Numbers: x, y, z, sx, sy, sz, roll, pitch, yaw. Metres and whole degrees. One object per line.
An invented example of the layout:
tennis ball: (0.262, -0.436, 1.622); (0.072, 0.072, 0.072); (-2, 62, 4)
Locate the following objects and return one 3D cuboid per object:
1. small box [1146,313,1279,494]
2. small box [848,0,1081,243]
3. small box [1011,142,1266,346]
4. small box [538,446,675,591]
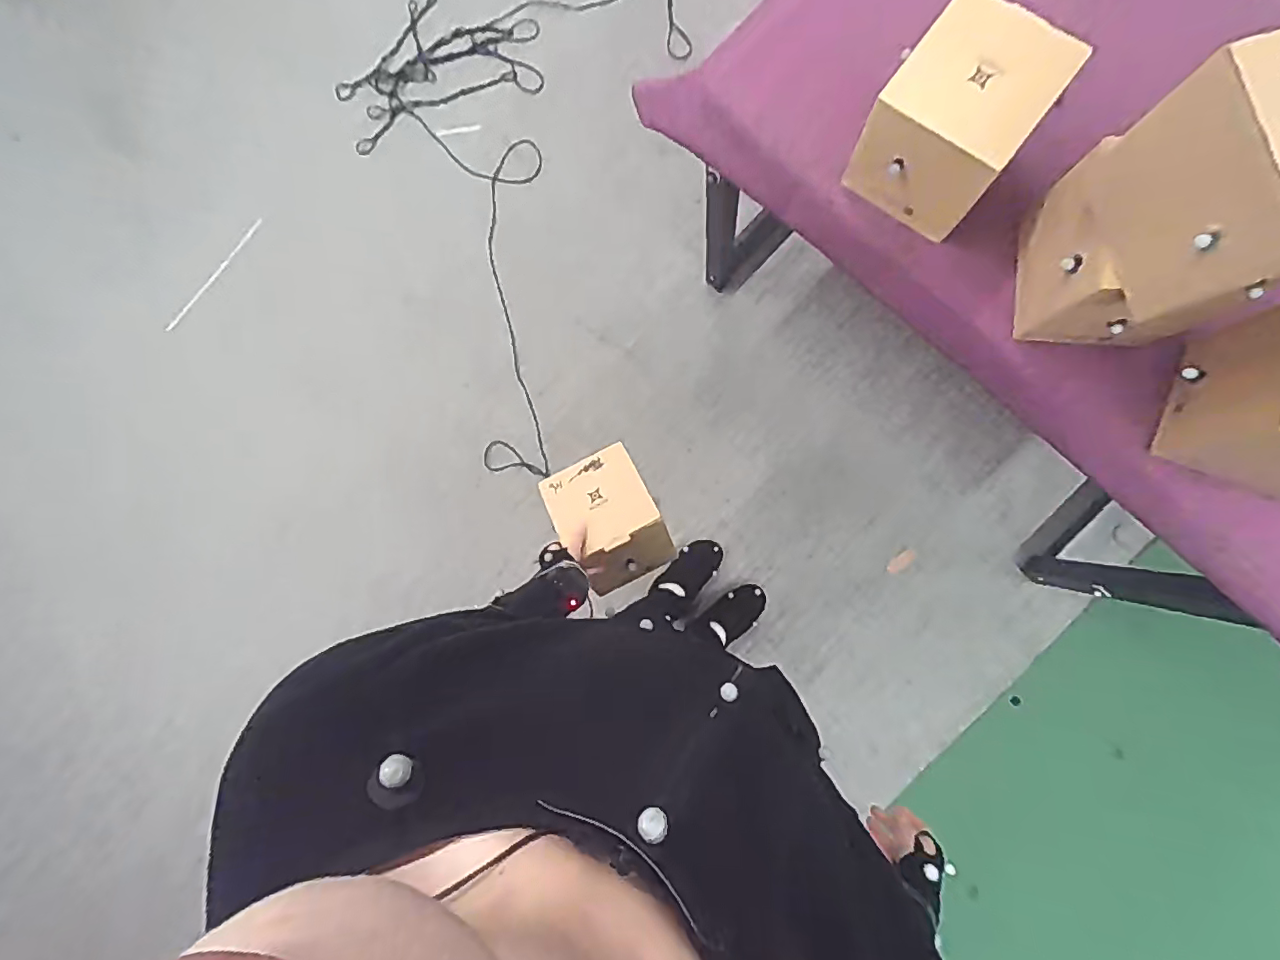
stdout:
small box: (0.767, -0.087, 0.629); (0.179, 0.176, 0.168); (21, 86, 8)
small box: (0.395, -0.450, 0.700); (0.168, 0.176, 0.179); (37, 89, 8)
small box: (0.589, -0.275, 0.663); (0.168, 0.176, 0.179); (5, 86, 6)
small box: (-0.052, 0.079, 0.954); (0.168, 0.176, 0.179); (-27, 58, -2)
